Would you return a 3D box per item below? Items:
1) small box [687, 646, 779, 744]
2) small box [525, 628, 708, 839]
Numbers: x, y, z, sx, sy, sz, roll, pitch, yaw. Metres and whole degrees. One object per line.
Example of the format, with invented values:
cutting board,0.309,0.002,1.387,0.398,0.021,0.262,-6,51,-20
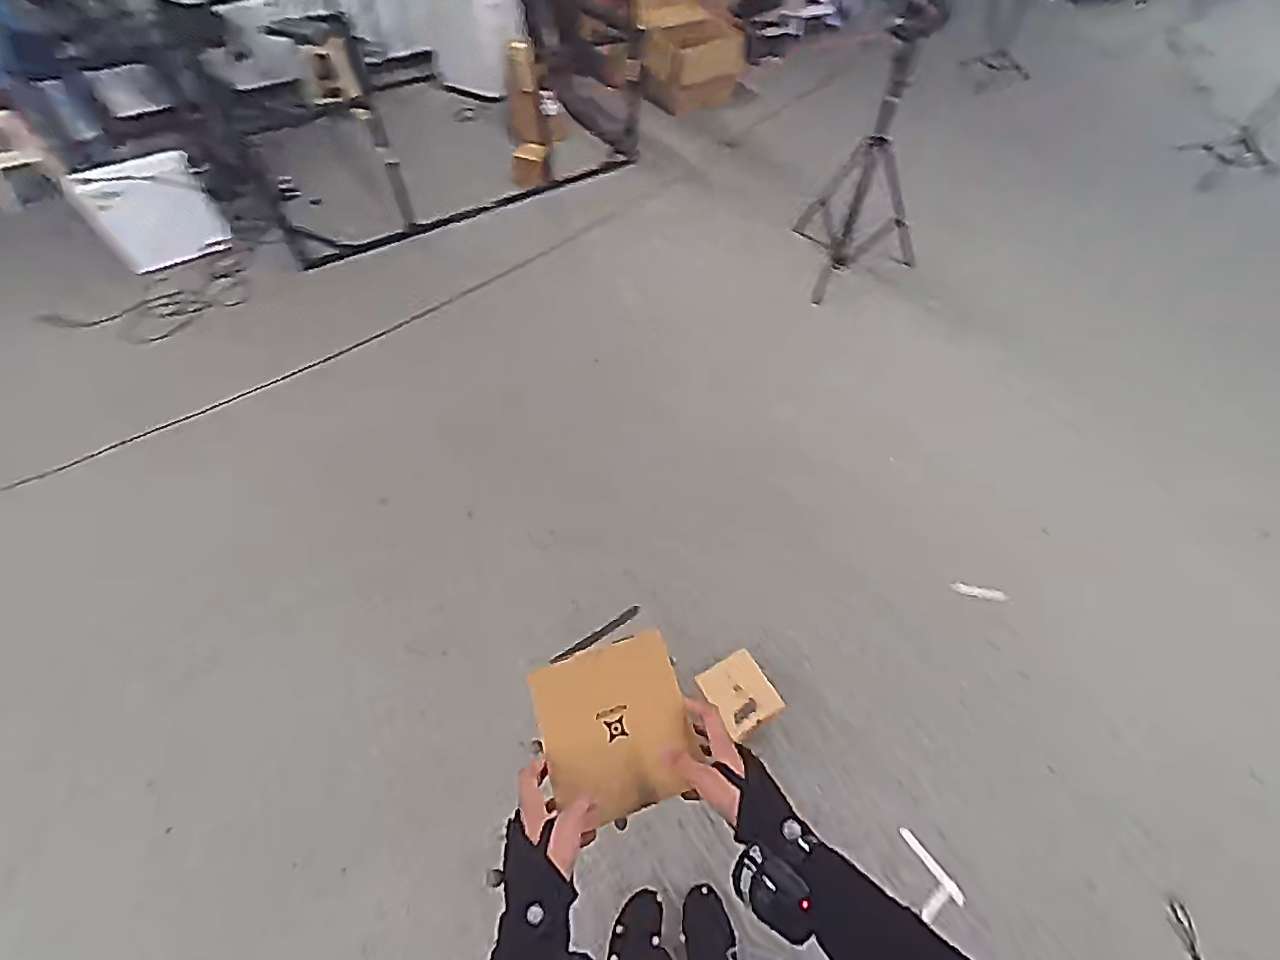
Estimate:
small box,0.241,0.582,1.446,0.168,0.176,0.179,-26,58,-17
small box,-0.031,0.307,0.664,0.168,0.176,0.179,-15,62,-11
